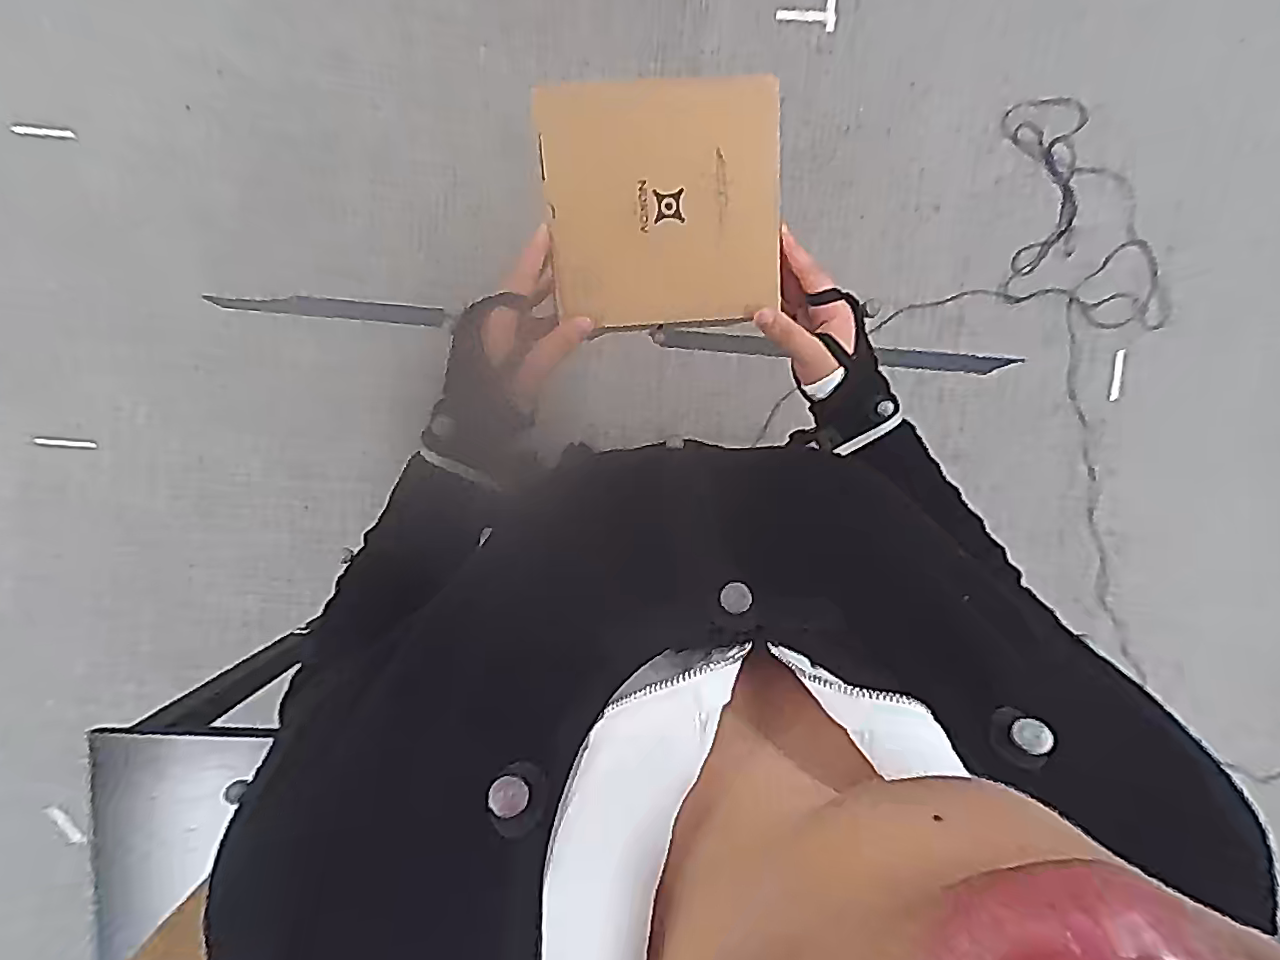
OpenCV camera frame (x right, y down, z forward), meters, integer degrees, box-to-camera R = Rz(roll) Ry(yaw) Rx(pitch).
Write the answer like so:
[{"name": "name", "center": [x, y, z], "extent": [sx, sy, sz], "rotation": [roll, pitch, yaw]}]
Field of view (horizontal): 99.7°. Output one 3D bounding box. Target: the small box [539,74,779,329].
[{"name": "small box", "center": [0.014, -0.227, 0.483], "extent": [0.179, 0.176, 0.168], "rotation": [-5, 105, -3]}]
